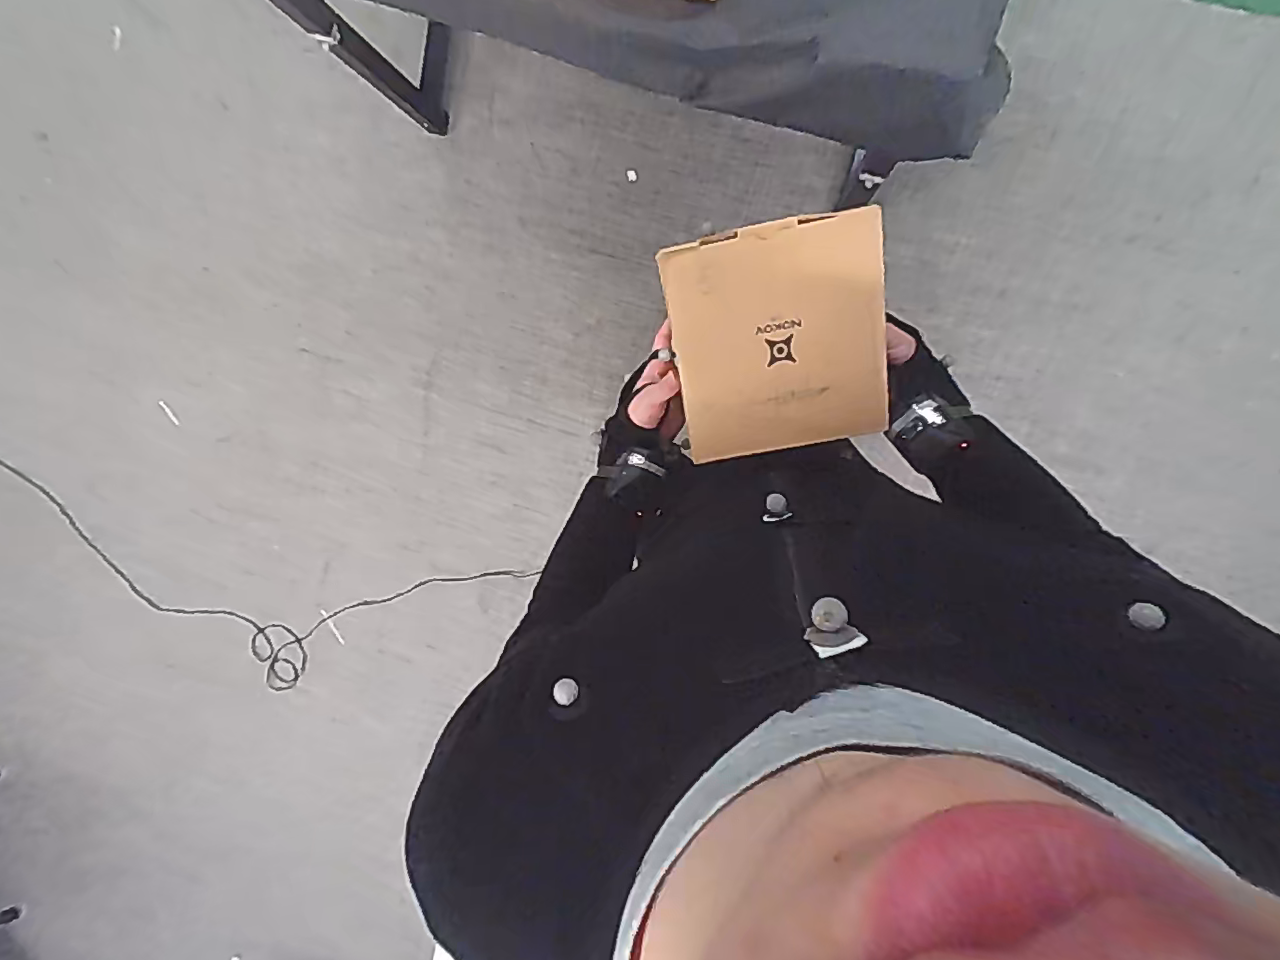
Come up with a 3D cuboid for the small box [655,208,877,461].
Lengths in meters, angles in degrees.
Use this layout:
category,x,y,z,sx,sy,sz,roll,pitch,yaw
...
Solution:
category,x,y,z,sx,sy,sz,roll,pitch,yaw
small box,0.106,-0.137,0.506,0.168,0.176,0.179,-9,112,6
